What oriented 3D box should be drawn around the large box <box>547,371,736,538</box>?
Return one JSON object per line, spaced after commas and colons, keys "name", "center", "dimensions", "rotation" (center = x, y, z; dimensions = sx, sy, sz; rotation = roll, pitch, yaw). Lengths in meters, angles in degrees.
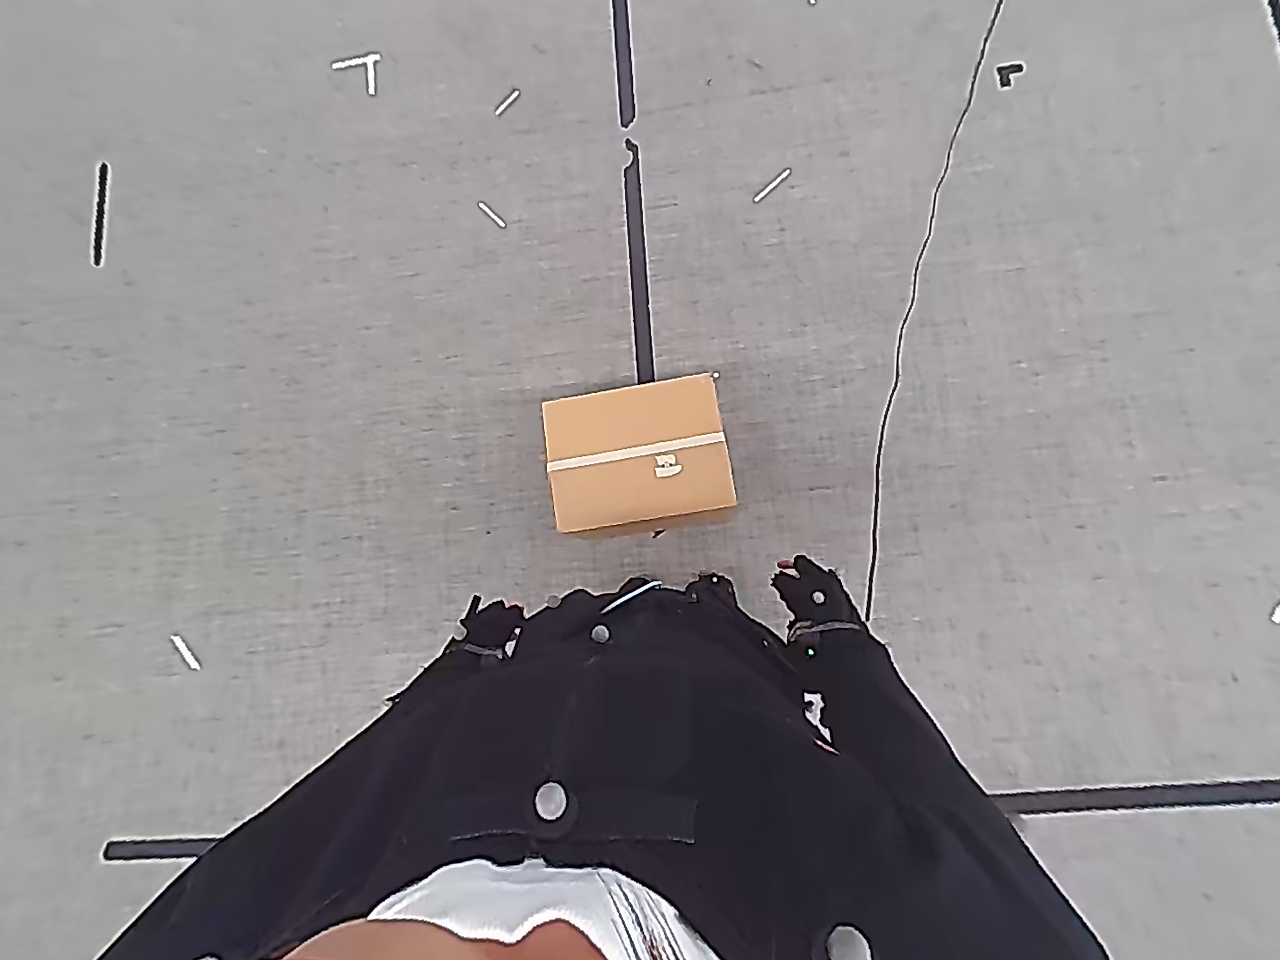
{"name": "large box", "center": [0.011, -0.045, 1.381], "dimensions": [0.408, 0.320, 0.320], "rotation": [-9, 80, 5]}
